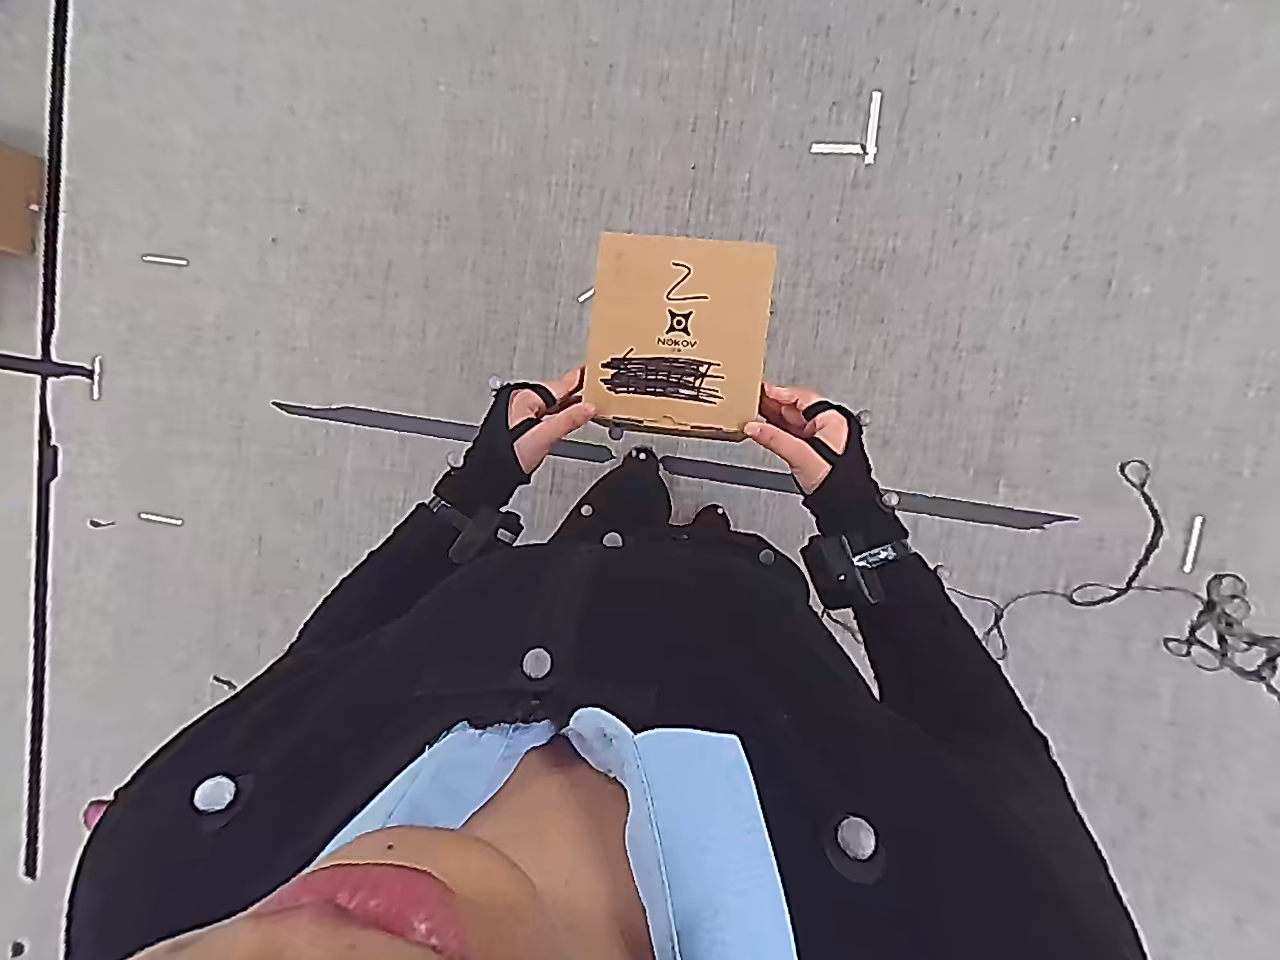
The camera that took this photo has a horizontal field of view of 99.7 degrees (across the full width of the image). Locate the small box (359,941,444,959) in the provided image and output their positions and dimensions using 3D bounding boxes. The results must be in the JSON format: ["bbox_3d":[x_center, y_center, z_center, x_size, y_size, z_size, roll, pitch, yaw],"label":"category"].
[{"bbox_3d":[-0.363,0.809,0.761,0.179,0.176,0.168,10,94,8],"label":"small box"}]
